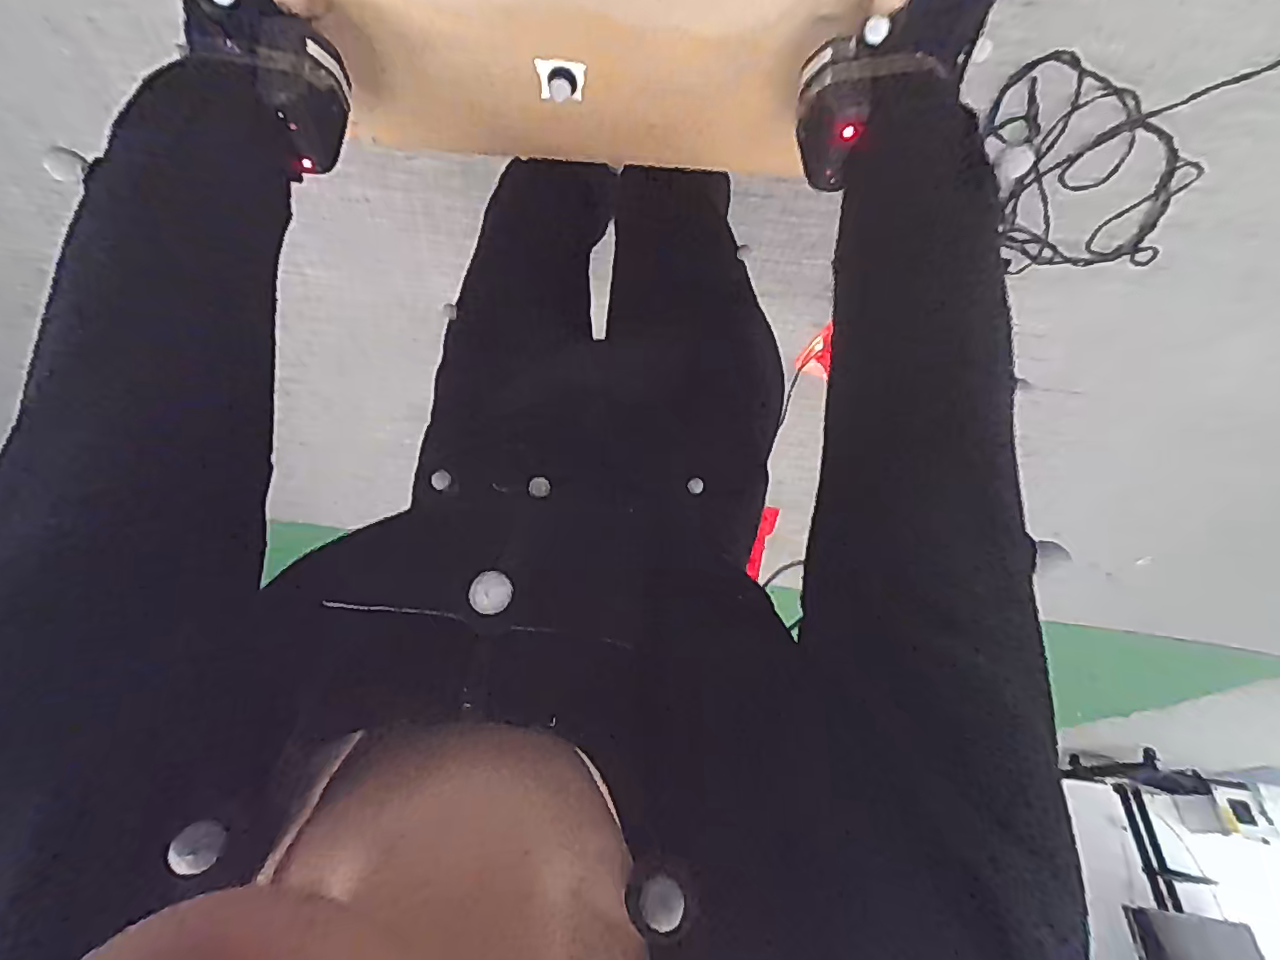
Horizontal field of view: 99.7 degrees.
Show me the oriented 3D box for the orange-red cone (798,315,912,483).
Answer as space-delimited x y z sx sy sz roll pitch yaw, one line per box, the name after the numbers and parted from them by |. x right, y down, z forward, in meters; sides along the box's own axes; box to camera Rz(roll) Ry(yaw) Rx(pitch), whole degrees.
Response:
0.481 -0.149 1.175 0.199 0.360 0.198 18 145 -15 | orange-red cone
